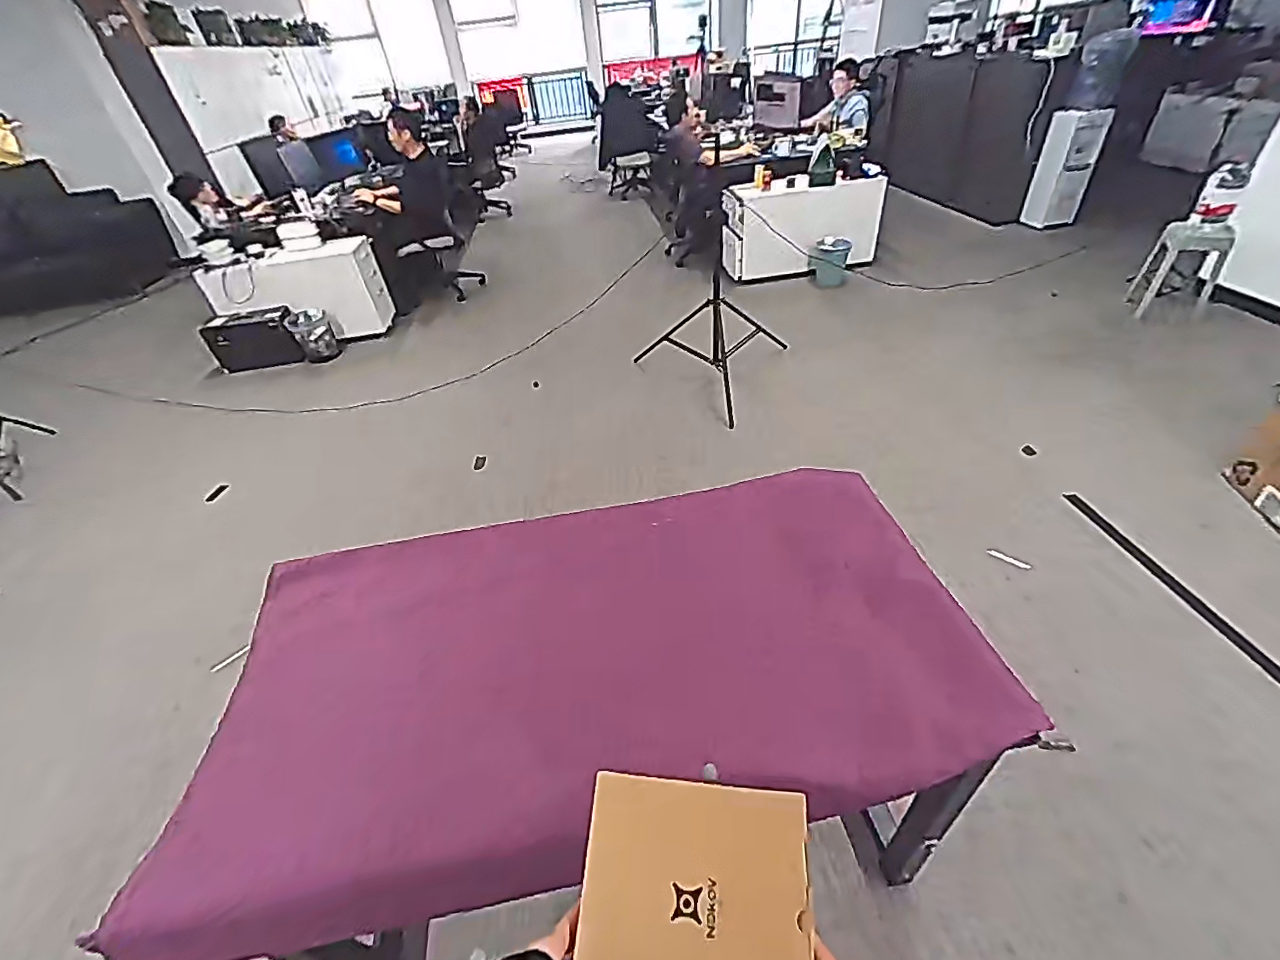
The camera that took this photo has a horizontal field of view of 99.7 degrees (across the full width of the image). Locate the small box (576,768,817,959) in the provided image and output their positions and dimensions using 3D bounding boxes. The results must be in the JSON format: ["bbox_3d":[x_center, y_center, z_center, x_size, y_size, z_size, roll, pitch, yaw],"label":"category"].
[{"bbox_3d":[0.053,0.364,0.475,0.179,0.176,0.168,1,57,8],"label":"small box"}]
